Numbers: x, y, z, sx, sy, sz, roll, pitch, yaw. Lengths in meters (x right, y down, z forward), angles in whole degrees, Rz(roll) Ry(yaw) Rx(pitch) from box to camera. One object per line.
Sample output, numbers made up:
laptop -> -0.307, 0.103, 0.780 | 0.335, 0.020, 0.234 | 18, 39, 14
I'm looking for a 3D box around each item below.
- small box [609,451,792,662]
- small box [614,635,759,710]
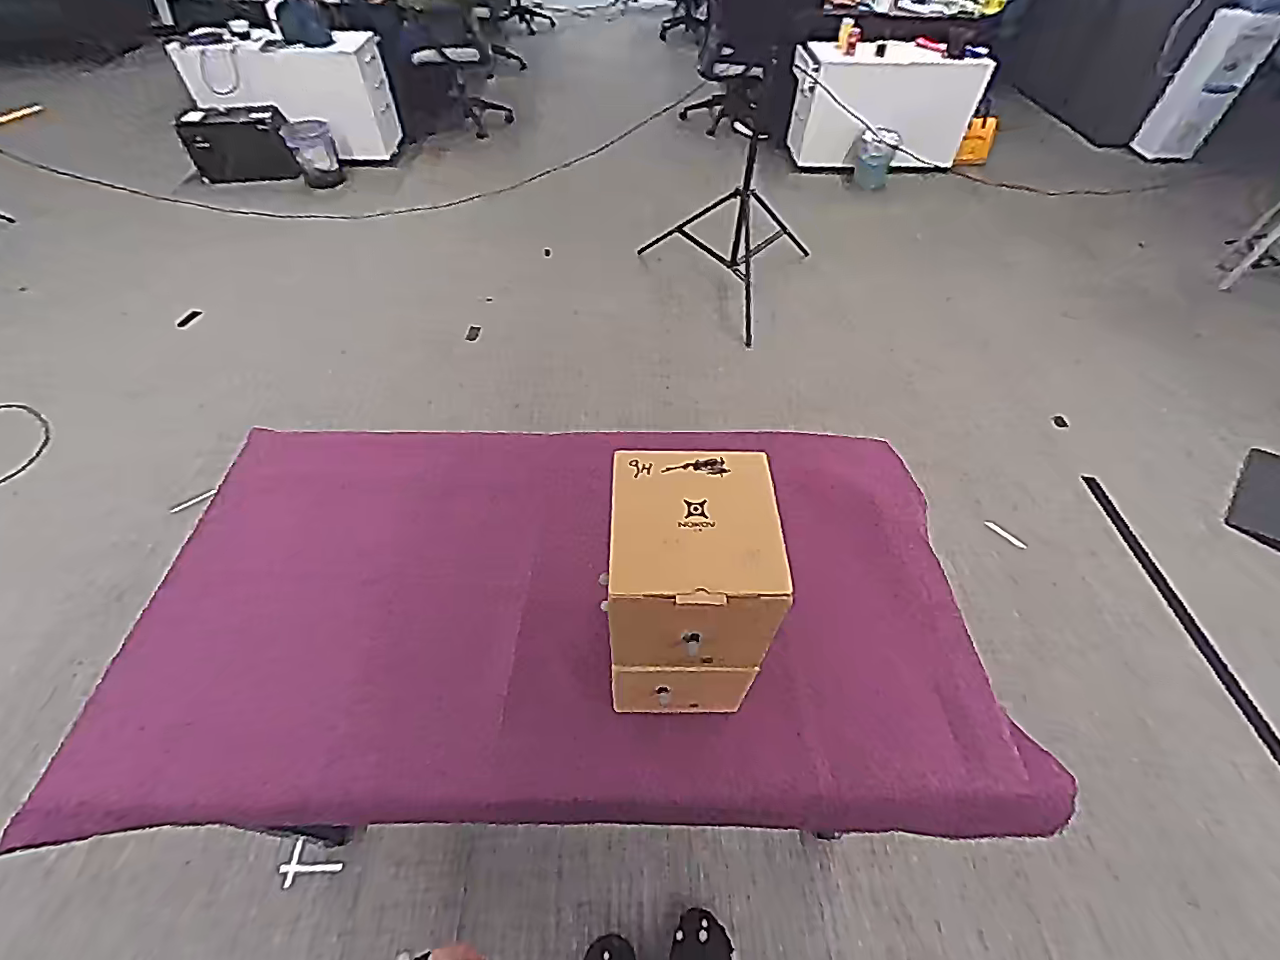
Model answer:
small box -> 0.056, 0.087, 0.591 | 0.168, 0.176, 0.179 | 1, 51, 0
small box -> 0.053, 0.194, 0.715 | 0.168, 0.176, 0.179 | 0, 51, -1
